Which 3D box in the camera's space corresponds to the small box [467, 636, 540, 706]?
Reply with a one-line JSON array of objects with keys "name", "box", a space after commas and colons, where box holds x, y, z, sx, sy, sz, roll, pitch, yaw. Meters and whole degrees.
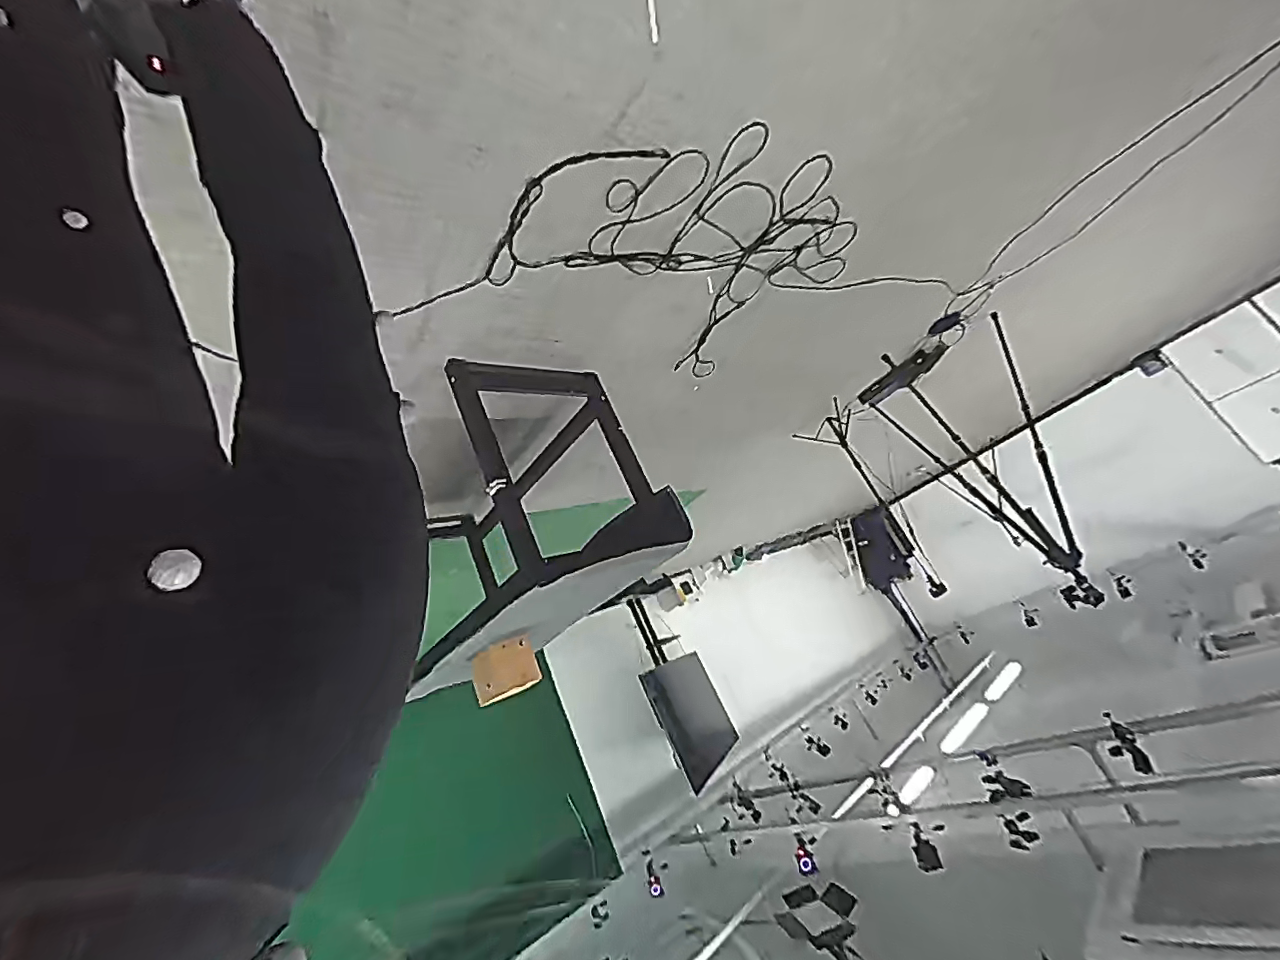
[{"name": "small box", "box": [-0.490, 0.670, 1.917, 0.168, 0.176, 0.179, -4, 153, -47]}]
